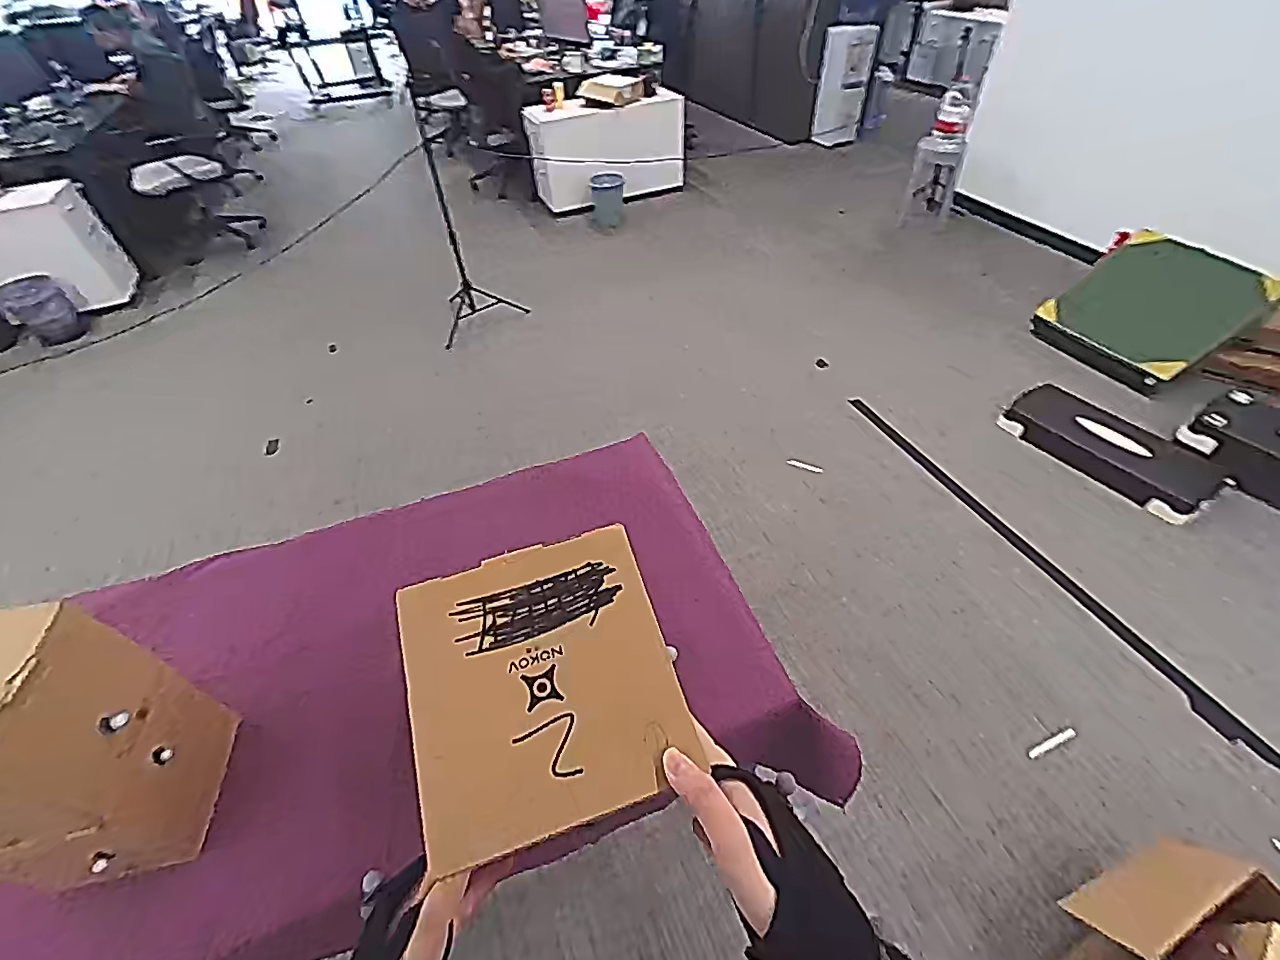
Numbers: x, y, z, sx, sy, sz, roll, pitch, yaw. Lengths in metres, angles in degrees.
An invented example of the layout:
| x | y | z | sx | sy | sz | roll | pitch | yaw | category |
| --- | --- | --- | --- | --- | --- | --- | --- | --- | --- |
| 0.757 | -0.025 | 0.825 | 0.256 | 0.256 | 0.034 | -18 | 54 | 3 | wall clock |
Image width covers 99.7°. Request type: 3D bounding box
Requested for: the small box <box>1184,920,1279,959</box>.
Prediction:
| x | y | z | sx | sy | sz | roll | pitch | yaw | category |
| --- | --- | --- | --- | --- | --- | --- | --- | --- | --- |
| 1.002 | 0.844 | 0.849 | 0.168 | 0.176 | 0.179 | -38 | 59 | -25 | small box |

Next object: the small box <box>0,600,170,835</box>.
| x | y | z | sx | sy | sz | roll | pitch | yaw | category |
| --- | --- | --- | --- | --- | --- | --- | --- | --- | --- |
| -0.642 | 0.245 | 0.539 | 0.179 | 0.176 | 0.168 | -8 | 48 | -6 | small box |

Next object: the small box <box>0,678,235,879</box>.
| x | y | z | sx | sy | sz | roll | pitch | yaw | category |
| --- | --- | --- | --- | --- | --- | --- | --- | --- | --- |
| -0.641 | 0.360 | 0.656 | 0.168 | 0.176 | 0.179 | -9 | 47 | -6 | small box |

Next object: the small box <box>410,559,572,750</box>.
| x | y | z | sx | sy | sz | roll | pitch | yaw | category |
| --- | --- | --- | --- | --- | --- | --- | --- | --- | --- |
| -0.198 | 0.243 | 0.737 | 0.168 | 0.176 | 0.179 | -16 | 47 | -11 | small box |
